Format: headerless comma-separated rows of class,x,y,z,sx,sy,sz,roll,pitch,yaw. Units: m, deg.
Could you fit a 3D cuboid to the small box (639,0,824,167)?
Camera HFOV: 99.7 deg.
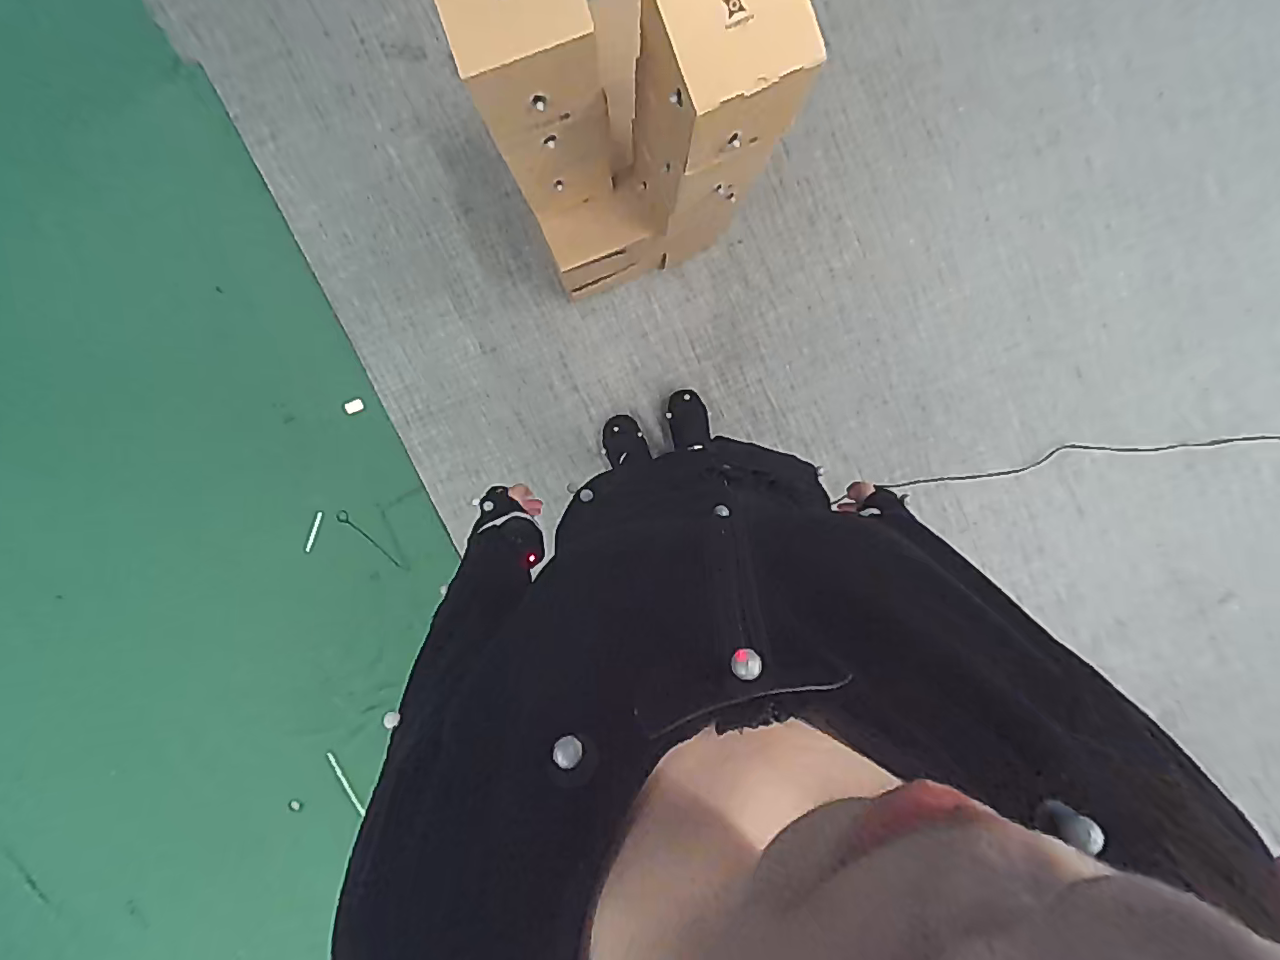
small box,0.103,-0.546,0.690,0.168,0.176,0.179,-23,98,2

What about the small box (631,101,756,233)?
small box,0.091,-0.598,1.013,0.179,0.176,0.168,-25,97,3

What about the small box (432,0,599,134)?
small box,-0.156,-0.574,0.683,0.168,0.176,0.179,-17,97,2

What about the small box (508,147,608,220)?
small box,-0.168,-0.624,1.009,0.168,0.176,0.179,-23,96,3

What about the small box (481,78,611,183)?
small box,-0.159,-0.602,0.843,0.179,0.176,0.168,-24,97,6
